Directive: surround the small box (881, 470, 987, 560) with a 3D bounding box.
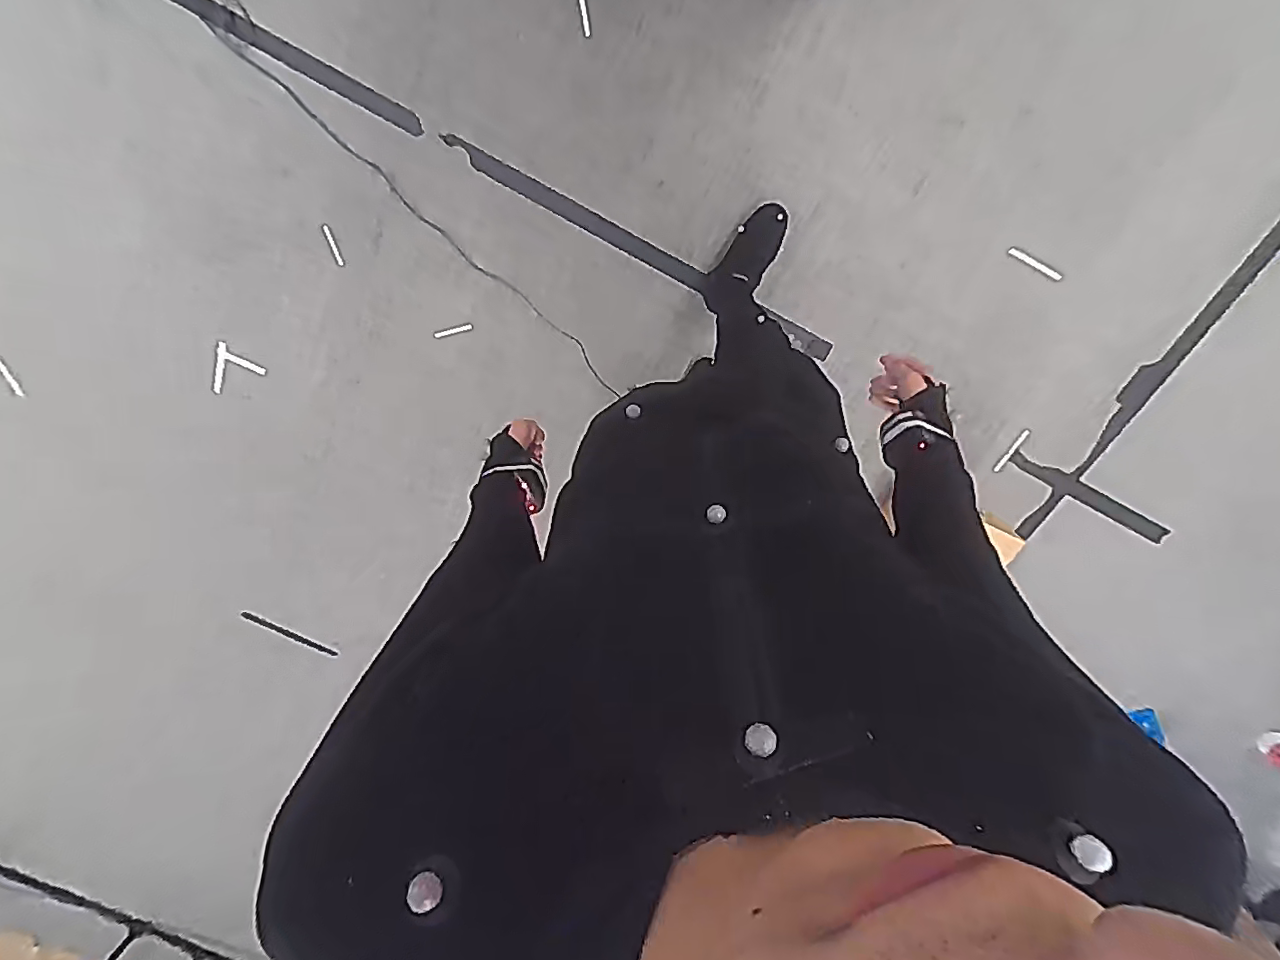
[{"bbox_3d":[0.823,0.091,1.532,0.179,0.176,0.168,24,113,-2],"label":"small box"}]
